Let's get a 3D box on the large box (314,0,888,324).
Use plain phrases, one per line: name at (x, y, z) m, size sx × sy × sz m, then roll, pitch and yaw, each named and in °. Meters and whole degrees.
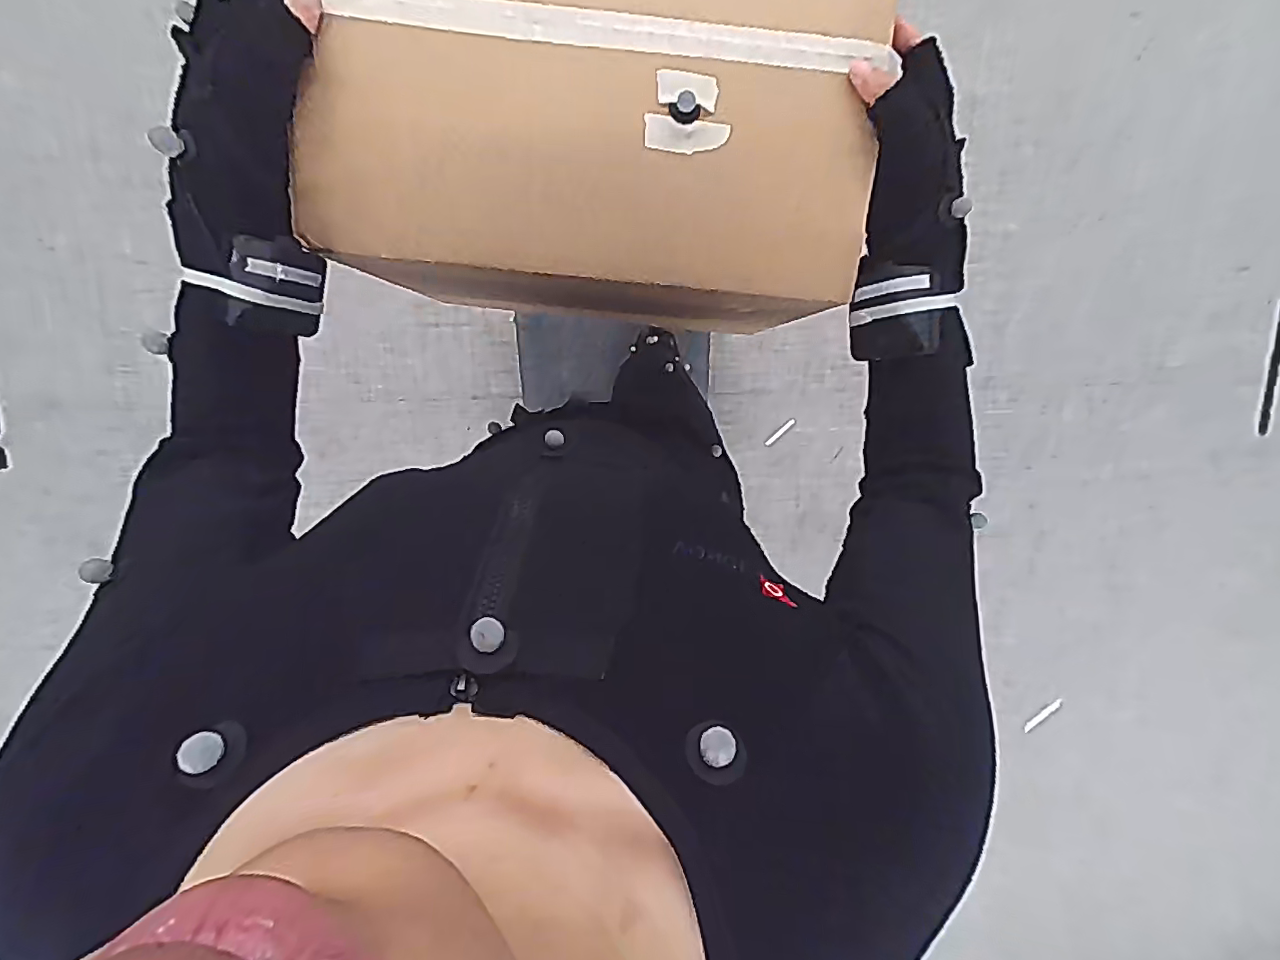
large box at (-0.032, -0.339, 0.525) m, size 0.408 × 0.320 × 0.320 m, roll 5°, pitch 101°, yaw -3°
